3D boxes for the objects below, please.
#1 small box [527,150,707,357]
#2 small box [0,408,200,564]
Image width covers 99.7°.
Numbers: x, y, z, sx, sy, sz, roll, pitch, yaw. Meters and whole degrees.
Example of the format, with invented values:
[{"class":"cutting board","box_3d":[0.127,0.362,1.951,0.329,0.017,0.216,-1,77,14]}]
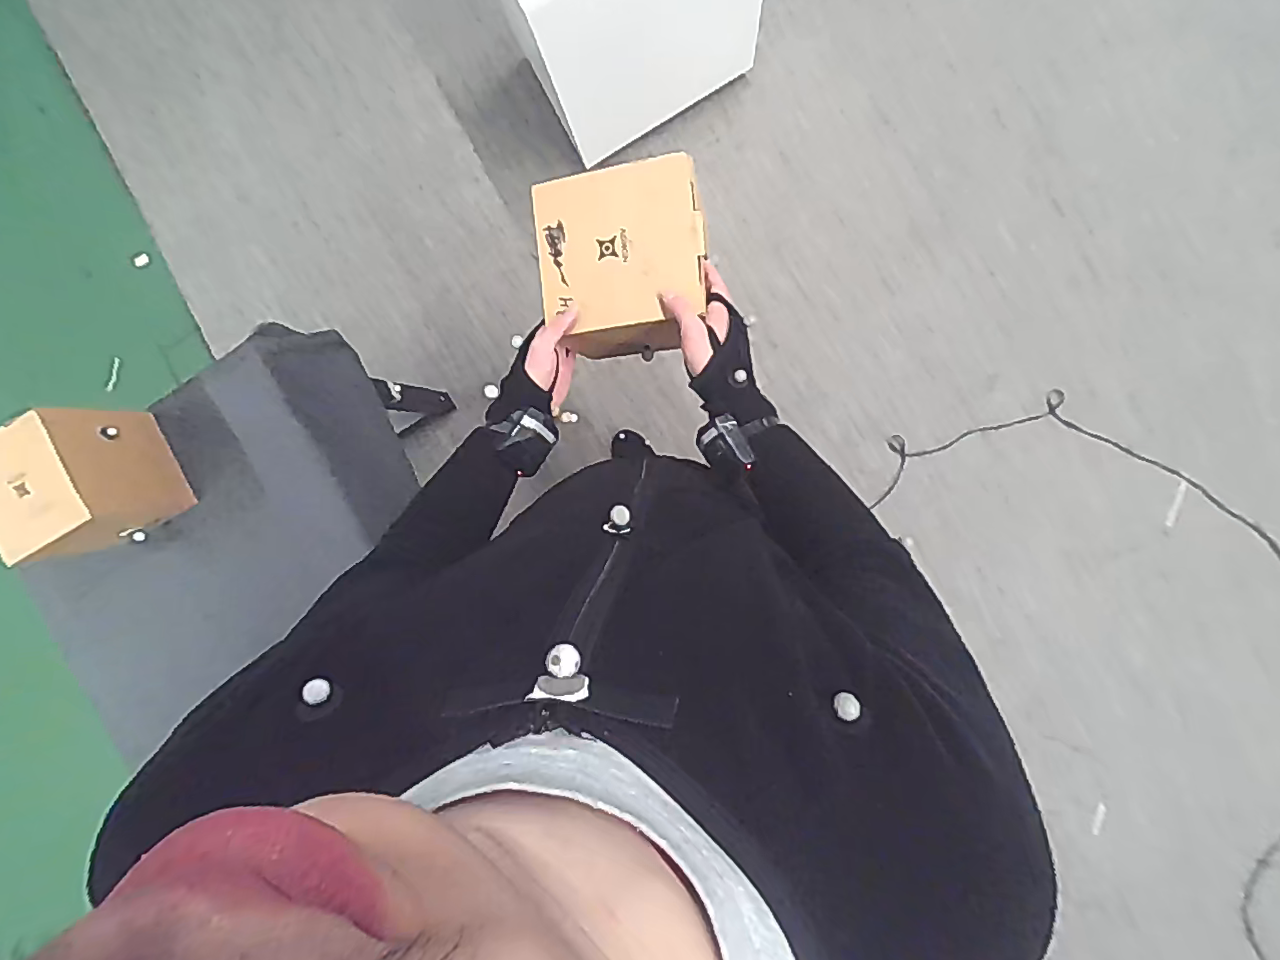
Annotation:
[{"class":"small box","box_3d":[-0.015,-0.249,0.639,0.179,0.176,0.168,-5,92,12]},{"class":"small box","box_3d":[-0.858,0.005,0.846,0.168,0.176,0.179,-27,92,9]}]
